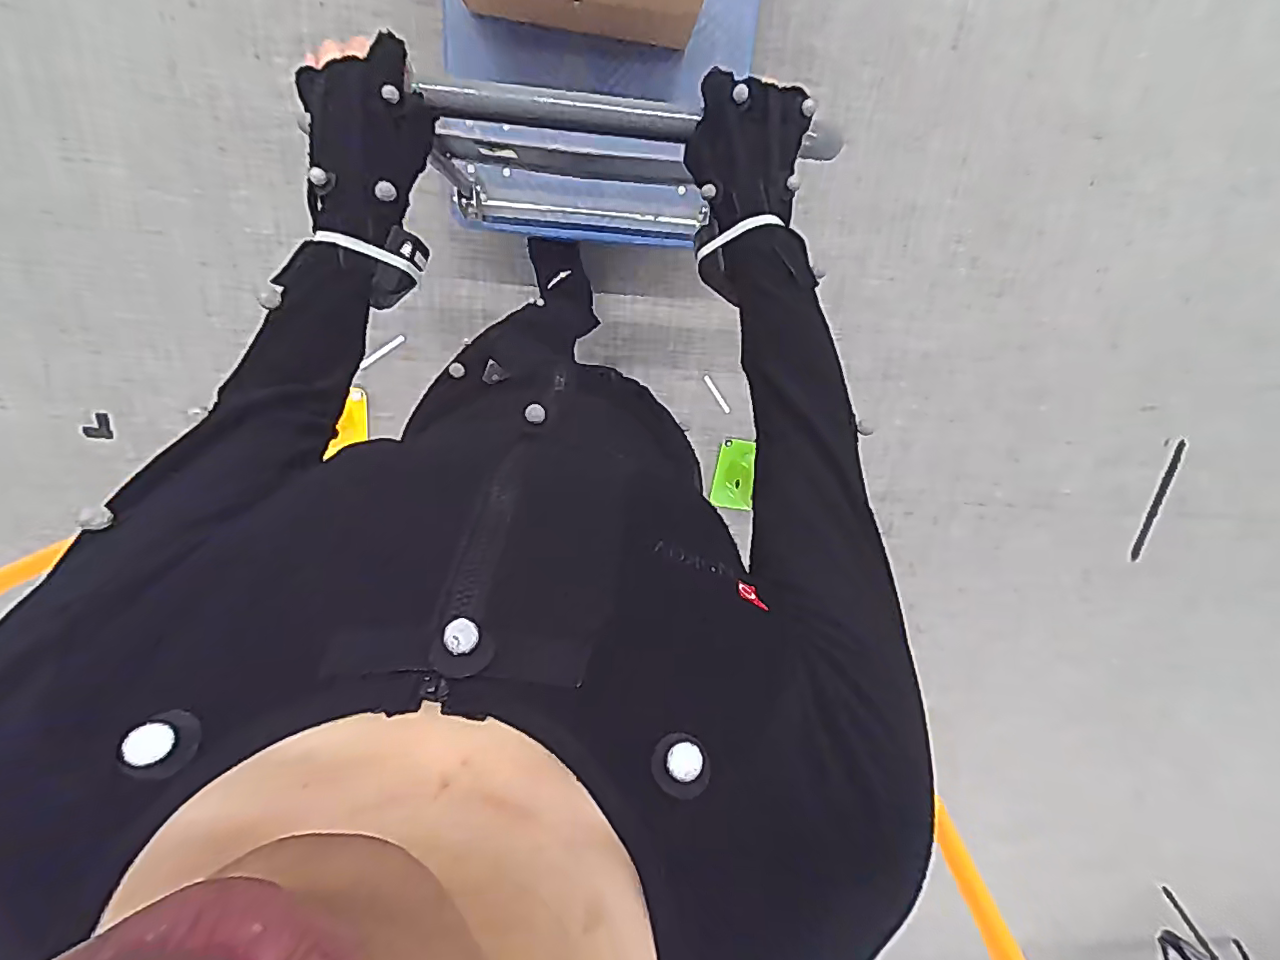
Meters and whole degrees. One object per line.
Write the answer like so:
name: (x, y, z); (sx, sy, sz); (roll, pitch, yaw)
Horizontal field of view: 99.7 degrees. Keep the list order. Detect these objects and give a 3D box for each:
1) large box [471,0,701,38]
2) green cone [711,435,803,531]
large box: (-0.085, -0.933, 0.820); (0.408, 0.320, 0.320); (5, 111, -5)
green cone: (0.324, 0.037, 1.365); (0.202, 0.368, 0.200); (7, 110, -7)
